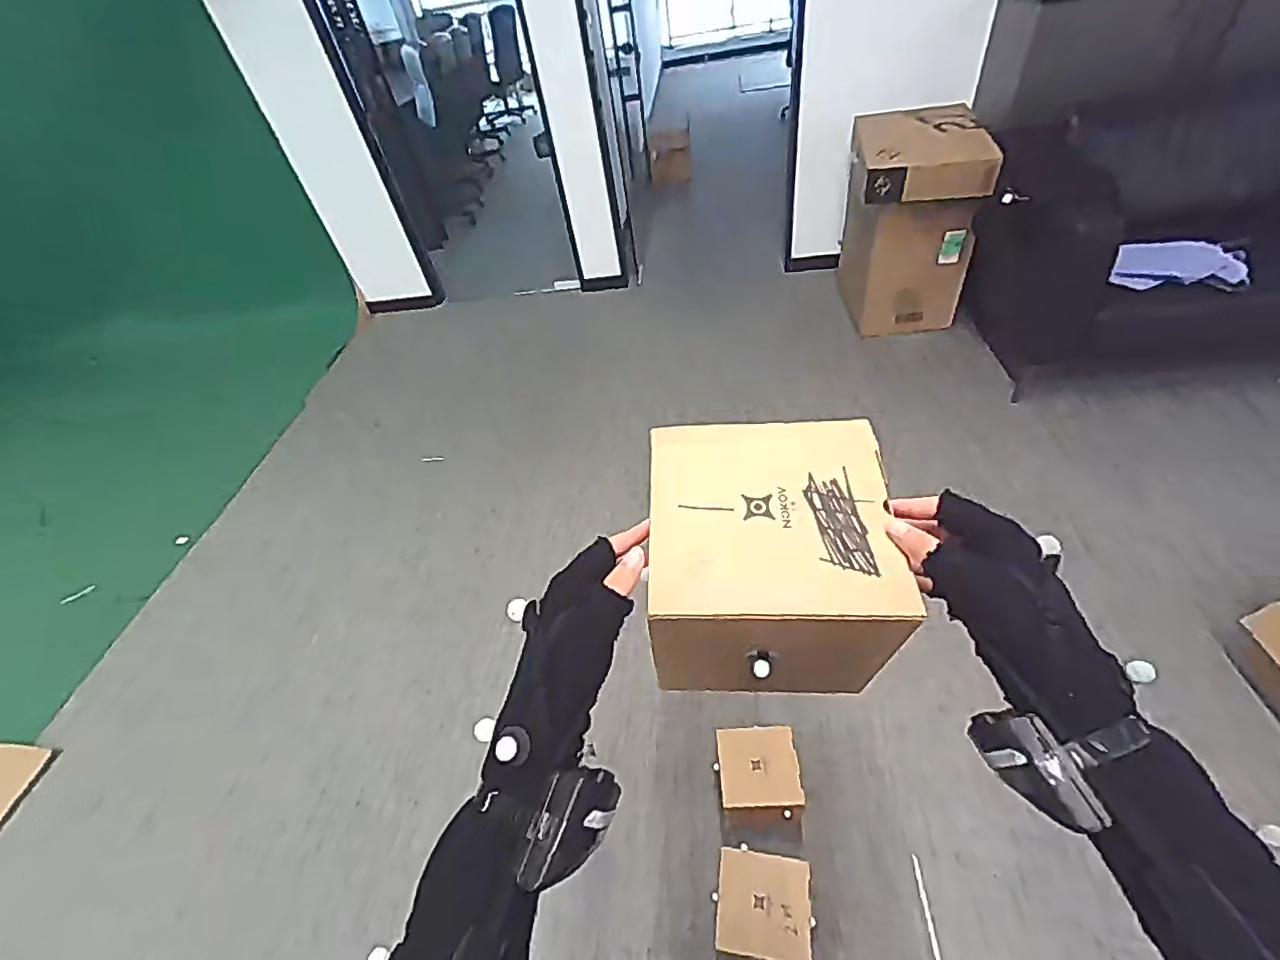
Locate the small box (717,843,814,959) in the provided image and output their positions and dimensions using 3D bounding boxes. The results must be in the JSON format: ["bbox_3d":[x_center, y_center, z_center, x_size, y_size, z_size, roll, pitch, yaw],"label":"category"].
[{"bbox_3d":[0.254,0.862,1.090,0.179,0.176,0.168,2,47,13],"label":"small box"}]

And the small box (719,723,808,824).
[{"bbox_3d":[0.283,0.687,1.260,0.179,0.176,0.168,-6,45,5],"label":"small box"}]
